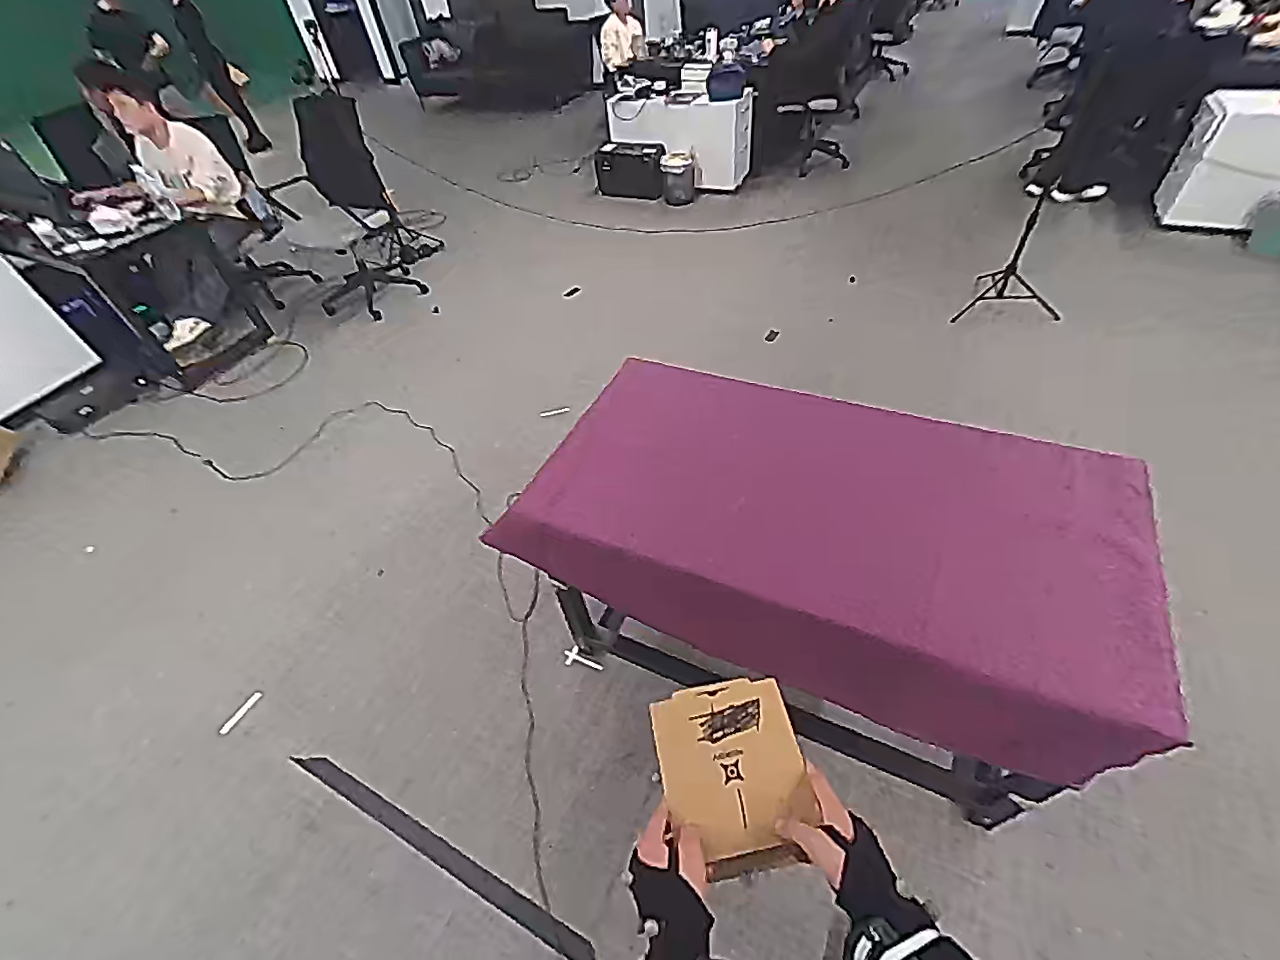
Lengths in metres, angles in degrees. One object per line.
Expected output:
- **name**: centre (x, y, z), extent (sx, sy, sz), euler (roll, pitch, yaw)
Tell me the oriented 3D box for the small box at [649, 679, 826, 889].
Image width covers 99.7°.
- **small box**: centre (0.110, 0.382, 0.679), extent (0.168, 0.176, 0.179), euler (-12, 47, -3)
